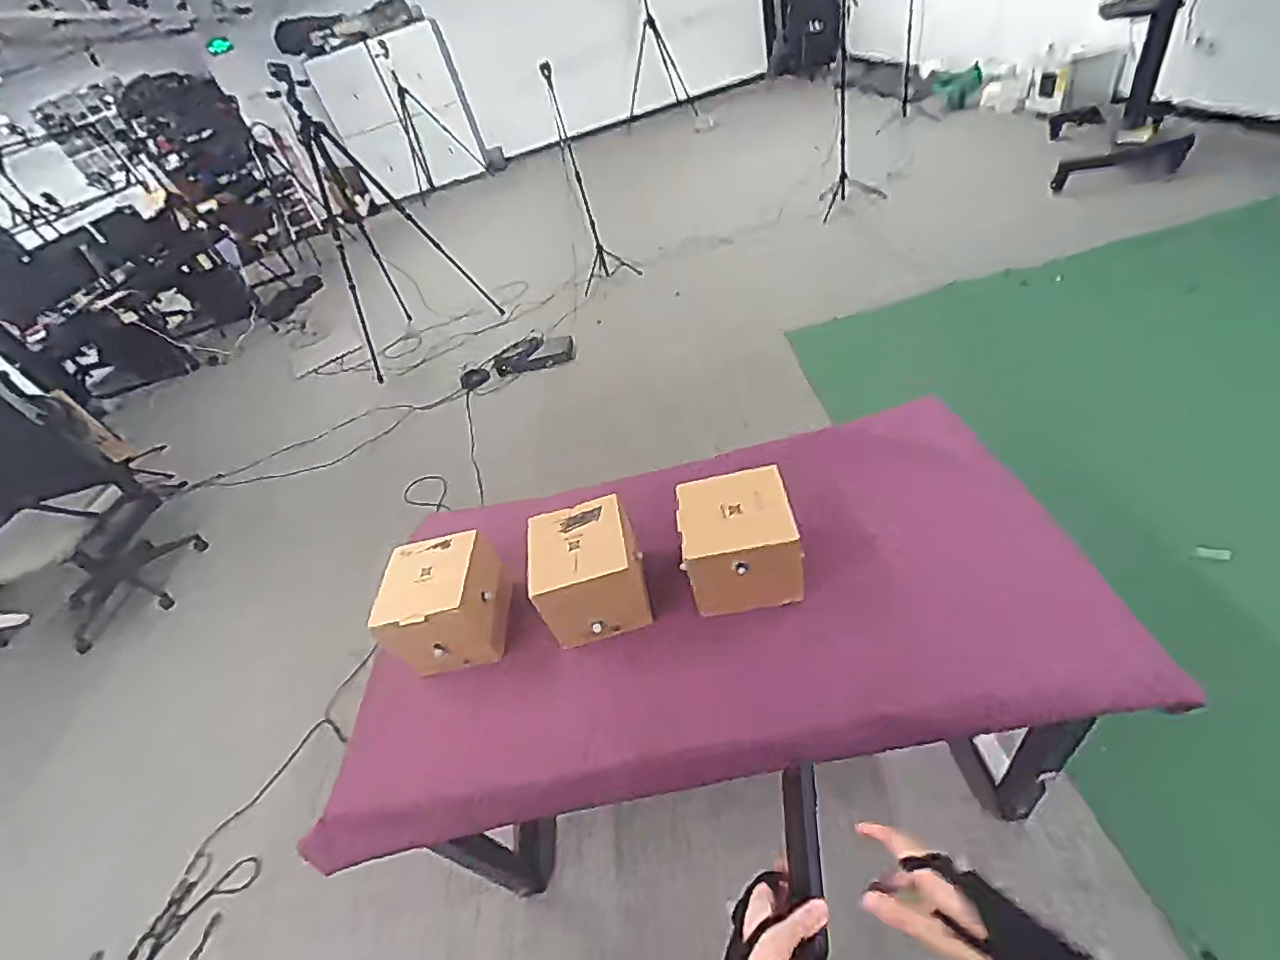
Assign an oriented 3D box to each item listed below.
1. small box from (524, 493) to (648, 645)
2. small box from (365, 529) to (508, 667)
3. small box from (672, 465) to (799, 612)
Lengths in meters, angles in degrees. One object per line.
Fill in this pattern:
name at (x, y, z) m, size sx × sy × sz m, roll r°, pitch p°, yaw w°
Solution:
small box at (-0.093, 0.157, 0.946) m, size 0.168 × 0.176 × 0.179 m, roll -16°, pitch 42°, yaw 3°
small box at (-0.352, 0.219, 0.975) m, size 0.168 × 0.176 × 0.179 m, roll -13°, pitch 42°, yaw 7°
small box at (0.159, 0.104, 0.911) m, size 0.179 × 0.176 × 0.168 m, roll -11°, pitch 42°, yaw 9°
